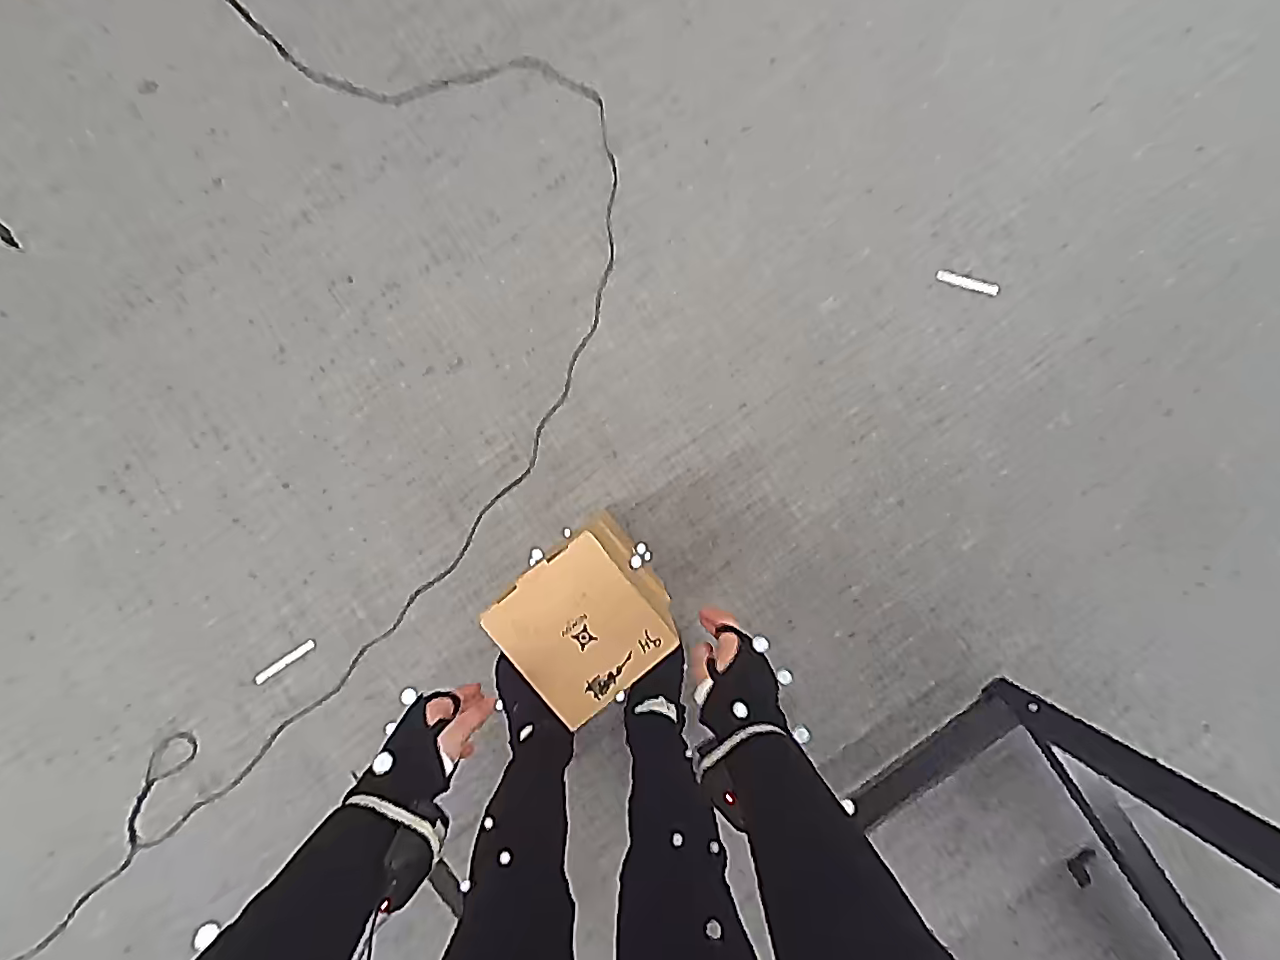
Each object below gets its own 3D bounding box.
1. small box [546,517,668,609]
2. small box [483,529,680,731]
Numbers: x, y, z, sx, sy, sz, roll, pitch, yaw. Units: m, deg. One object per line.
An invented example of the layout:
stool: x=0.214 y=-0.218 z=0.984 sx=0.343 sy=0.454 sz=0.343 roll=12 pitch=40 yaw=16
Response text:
small box: x=-0.076 y=0.178 z=0.871 sx=0.179 sy=0.176 sz=0.168 roll=-42 pitch=93 yaw=-3
small box: x=-0.072 y=0.177 z=0.707 sx=0.168 sy=0.176 sz=0.179 roll=-39 pitch=92 yaw=-2
